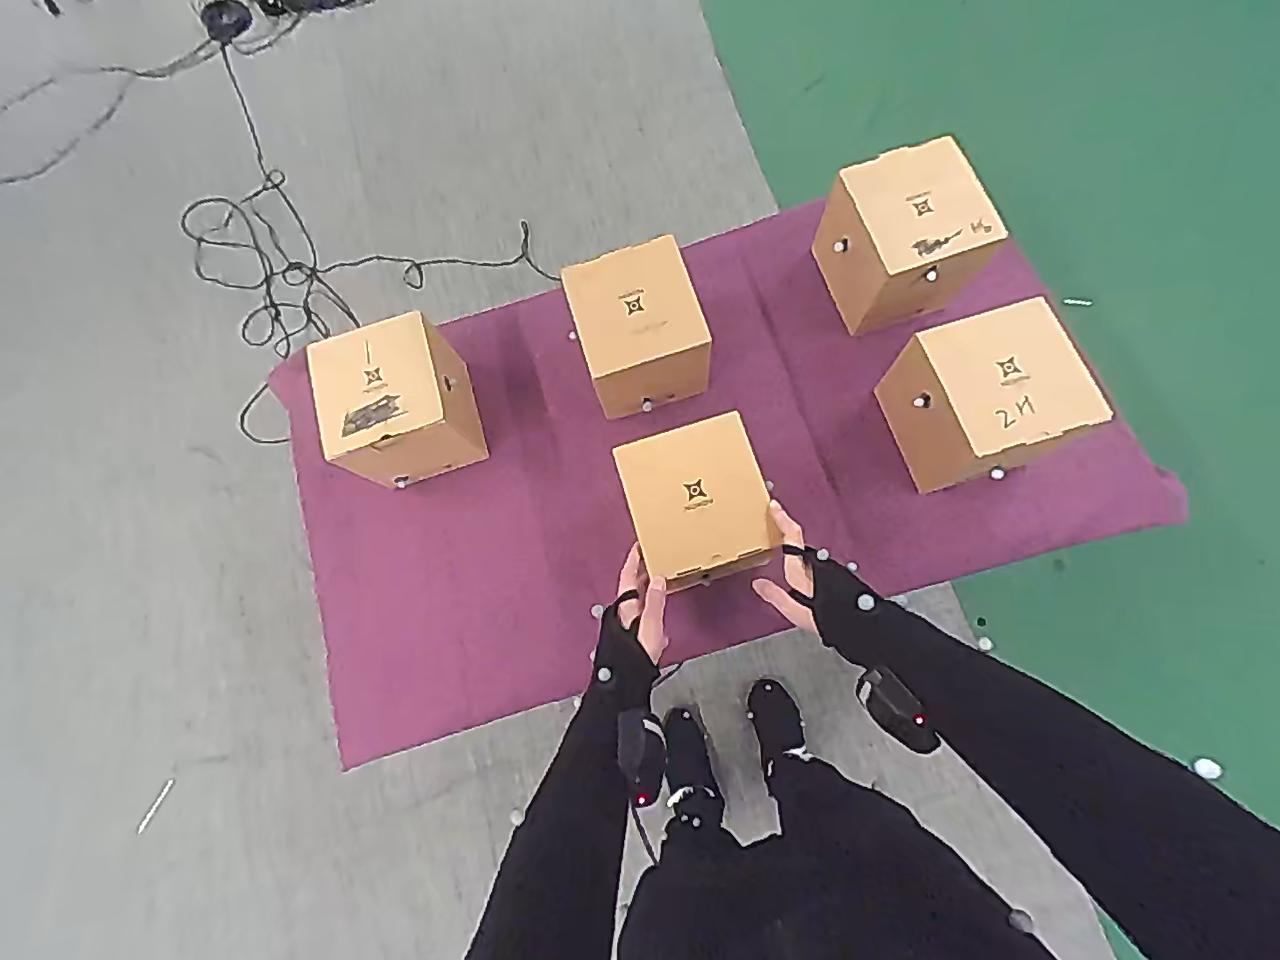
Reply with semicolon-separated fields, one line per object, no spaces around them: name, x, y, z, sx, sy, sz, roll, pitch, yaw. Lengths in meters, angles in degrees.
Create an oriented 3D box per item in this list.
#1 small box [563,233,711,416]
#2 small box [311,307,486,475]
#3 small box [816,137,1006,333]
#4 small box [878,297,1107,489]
small box;-0.002;-0.219;0.799;0.168;0.176;0.179;-17;75;1
small box;-0.345;-0.117;0.799;0.168;0.176;0.179;-18;74;0
small box;0.379;-0.349;0.797;0.168;0.176;0.179;-17;75;1
small box;0.448;-0.107;0.725;0.168;0.176;0.179;-16;73;2
